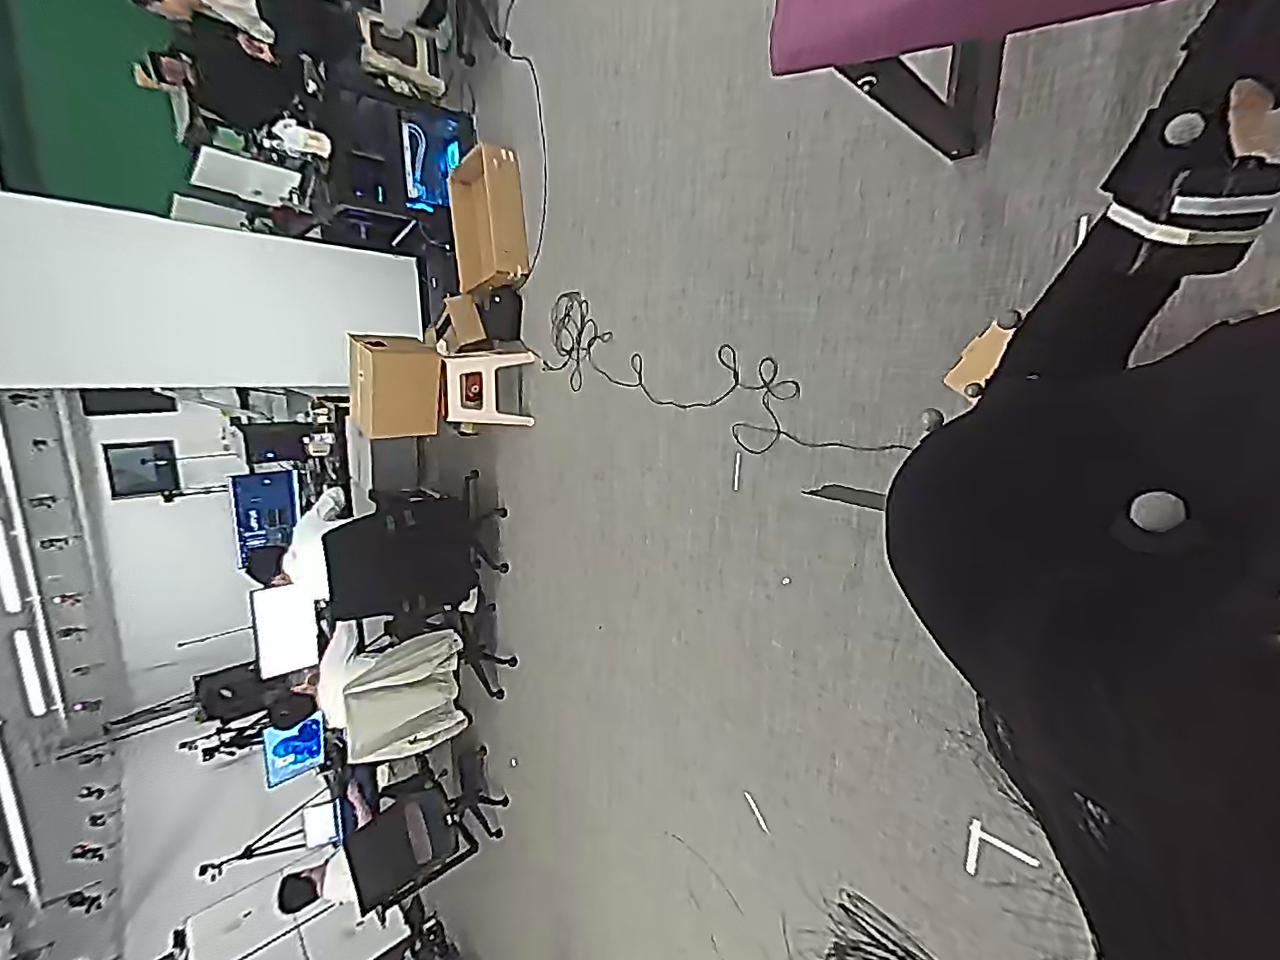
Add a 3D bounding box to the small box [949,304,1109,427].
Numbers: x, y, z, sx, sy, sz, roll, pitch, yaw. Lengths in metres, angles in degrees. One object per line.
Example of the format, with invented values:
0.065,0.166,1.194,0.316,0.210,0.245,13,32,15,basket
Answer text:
0.763,-0.222,1.063,0.179,0.176,0.168,50,131,29,small box
